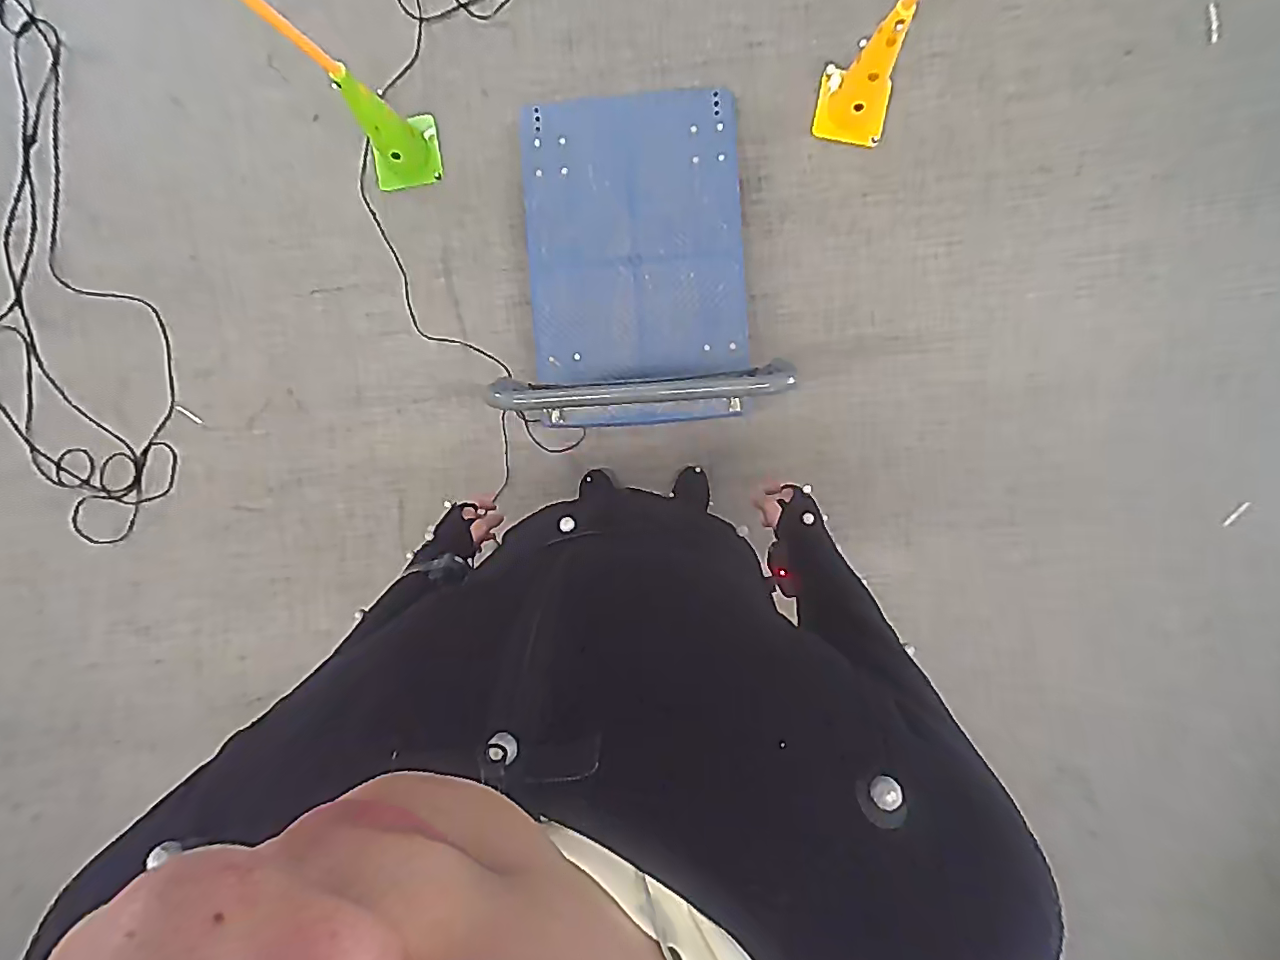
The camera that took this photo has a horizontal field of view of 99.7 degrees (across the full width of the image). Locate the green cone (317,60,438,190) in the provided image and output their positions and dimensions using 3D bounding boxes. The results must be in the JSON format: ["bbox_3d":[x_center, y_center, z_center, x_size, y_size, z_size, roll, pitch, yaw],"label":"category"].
[{"bbox_3d":[-0.724,-0.977,1.445,0.202,0.368,0.200,-10,91,4],"label":"green cone"}]
